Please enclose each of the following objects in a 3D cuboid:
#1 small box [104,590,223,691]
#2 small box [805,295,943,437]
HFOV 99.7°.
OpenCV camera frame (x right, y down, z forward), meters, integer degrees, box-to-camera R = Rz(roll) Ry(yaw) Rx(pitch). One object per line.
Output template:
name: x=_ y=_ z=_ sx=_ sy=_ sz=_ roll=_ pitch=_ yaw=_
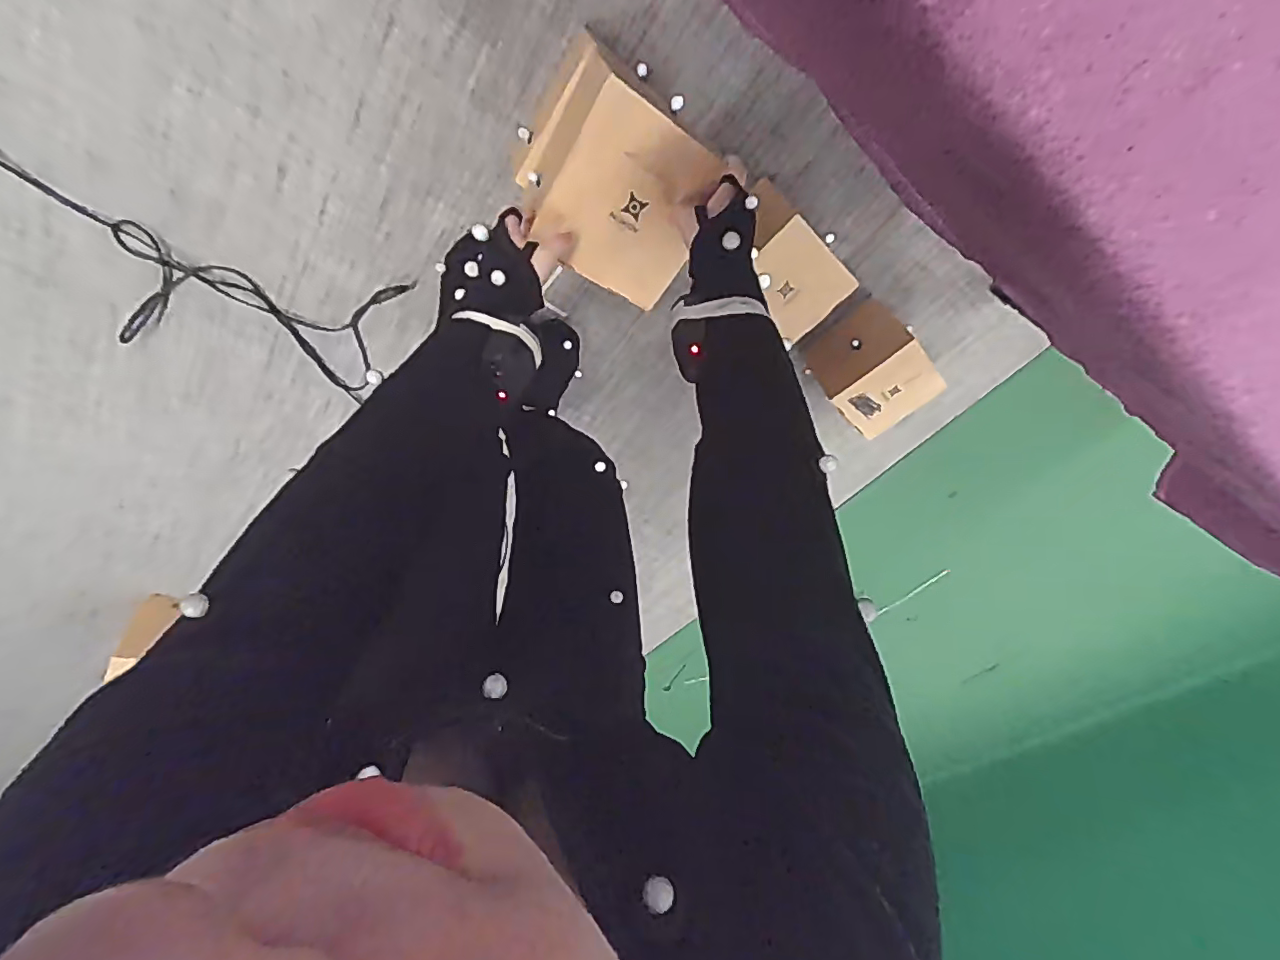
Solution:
small box: x=-1.189 y=0.402 z=1.361 sx=0.168 sy=0.176 sz=0.179 roll=26 pitch=124 yaw=-32
small box: x=0.452 y=-0.225 z=1.073 sx=0.179 sy=0.176 sz=0.168 roll=-39 pitch=130 yaw=25
